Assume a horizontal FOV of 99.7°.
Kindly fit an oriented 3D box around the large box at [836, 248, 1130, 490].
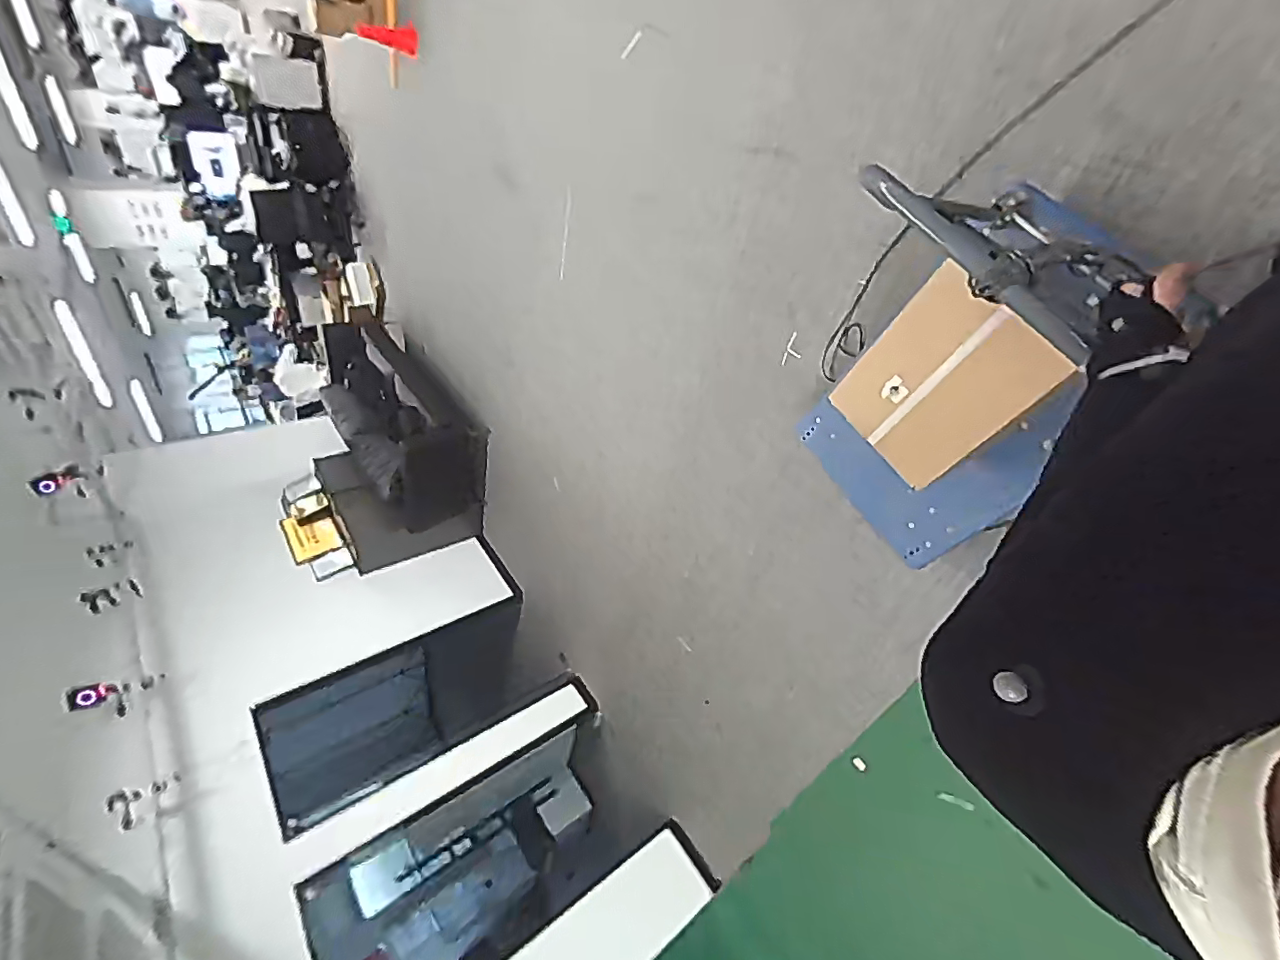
[{"bbox_3d":[0.741,-0.249,1.210,0.320,0.320,0.408,56,143,22],"label":"large box"}]
